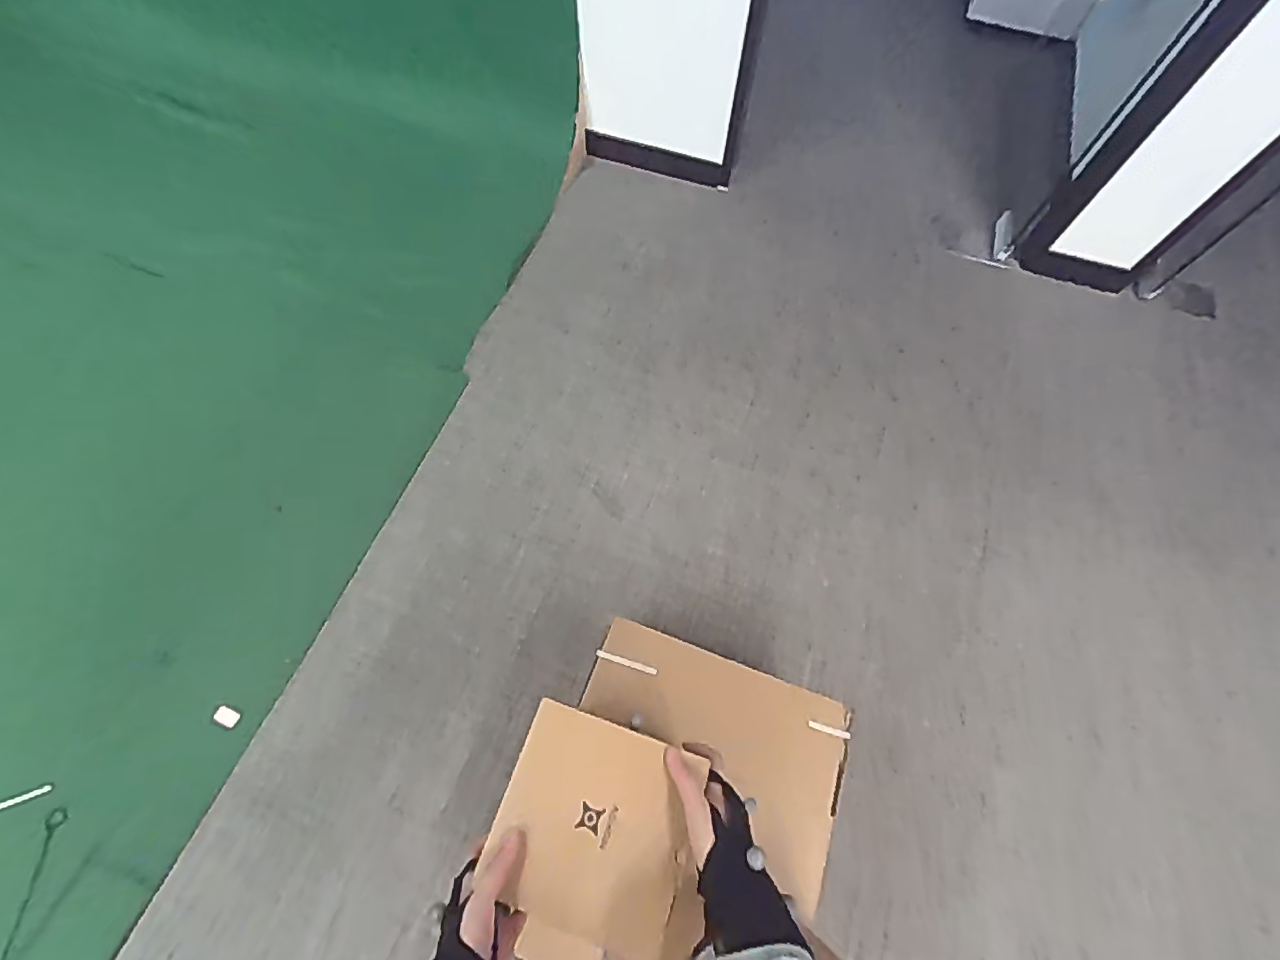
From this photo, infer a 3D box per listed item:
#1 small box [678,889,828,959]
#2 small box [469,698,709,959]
[{"bbox_3d":[0.127,0.615,0.620,0.168,0.176,0.179,23,65,8],"label":"small box"},{"bbox_3d":[-0.043,0.346,0.563,0.179,0.176,0.168,18,66,7],"label":"small box"}]
